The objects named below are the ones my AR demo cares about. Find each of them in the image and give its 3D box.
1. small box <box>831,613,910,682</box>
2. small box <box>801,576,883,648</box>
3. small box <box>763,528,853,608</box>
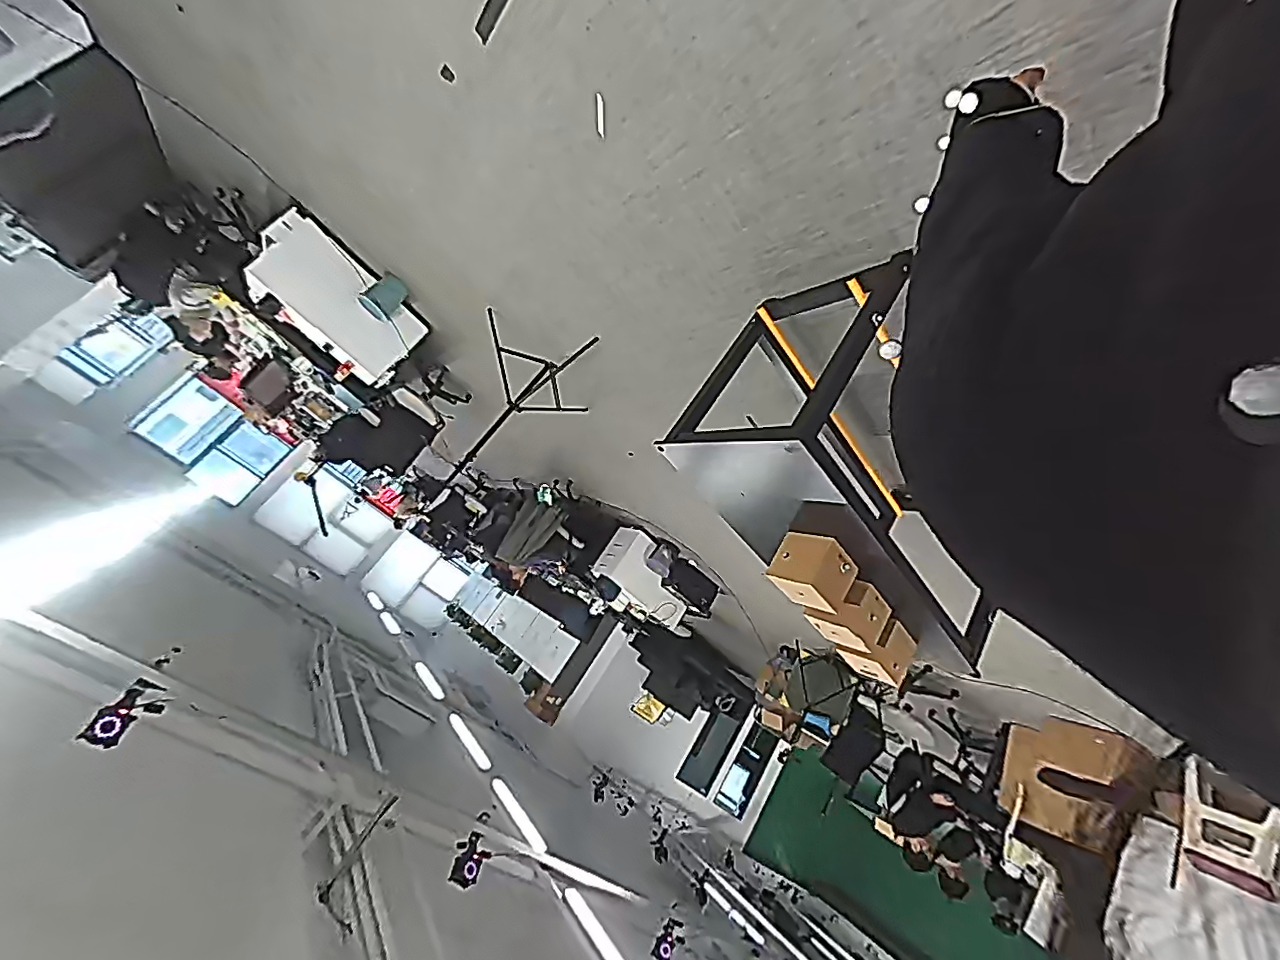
[{"bbox_3d":[0.809,0.564,1.883,0.179,0.176,0.168,46,158,-27],"label":"small box"},{"bbox_3d":[0.669,0.417,1.770,0.168,0.176,0.179,46,158,-27],"label":"small box"},{"bbox_3d":[0.519,0.265,1.664,0.168,0.176,0.179,44,159,-27],"label":"small box"}]
